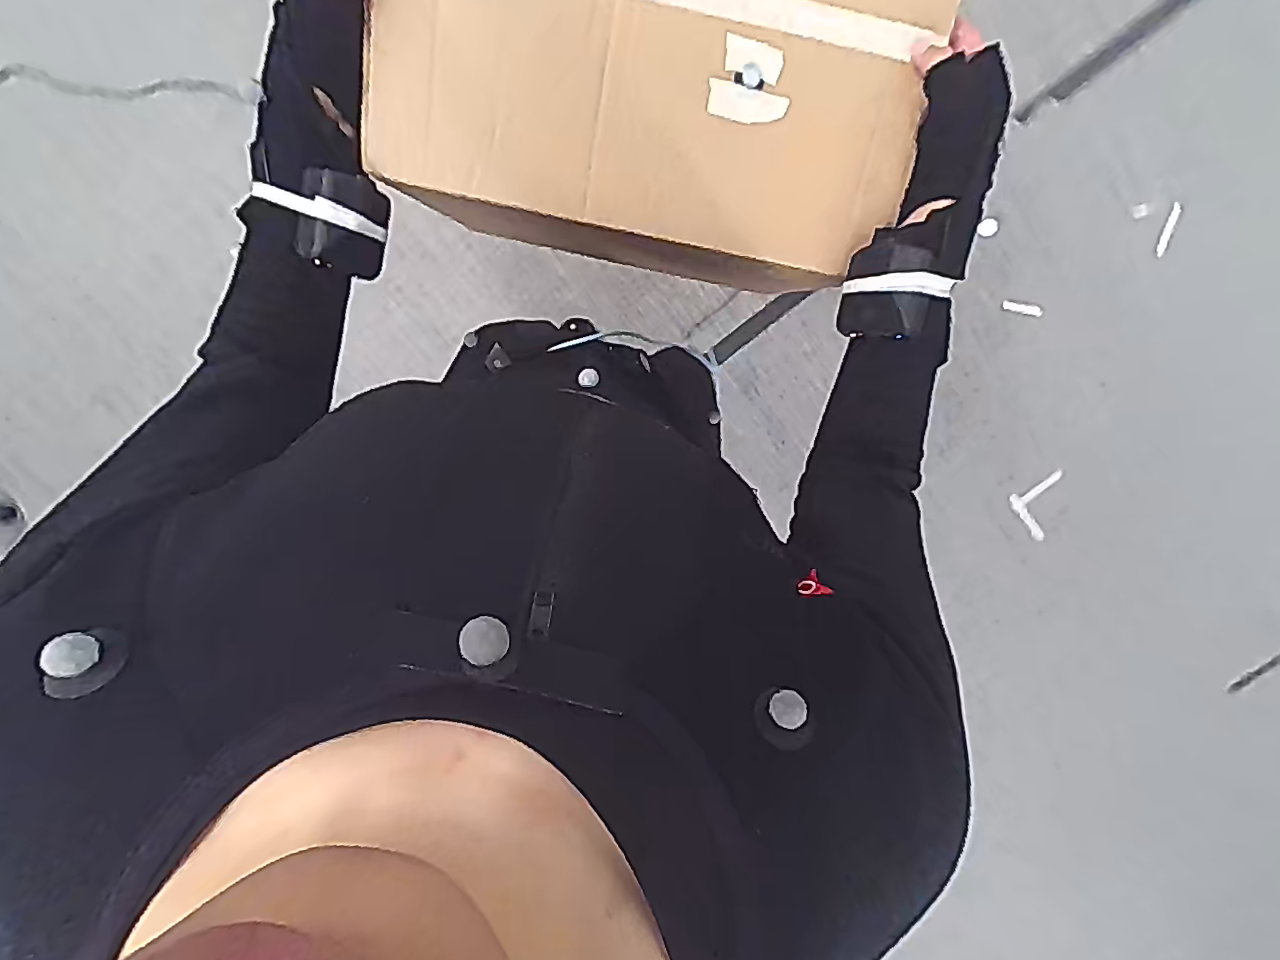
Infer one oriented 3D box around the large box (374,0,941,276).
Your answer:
[{"bbox_3d":[0.009,-0.396,0.522,0.408,0.320,0.320,8,108,-6],"label":"large box"}]
